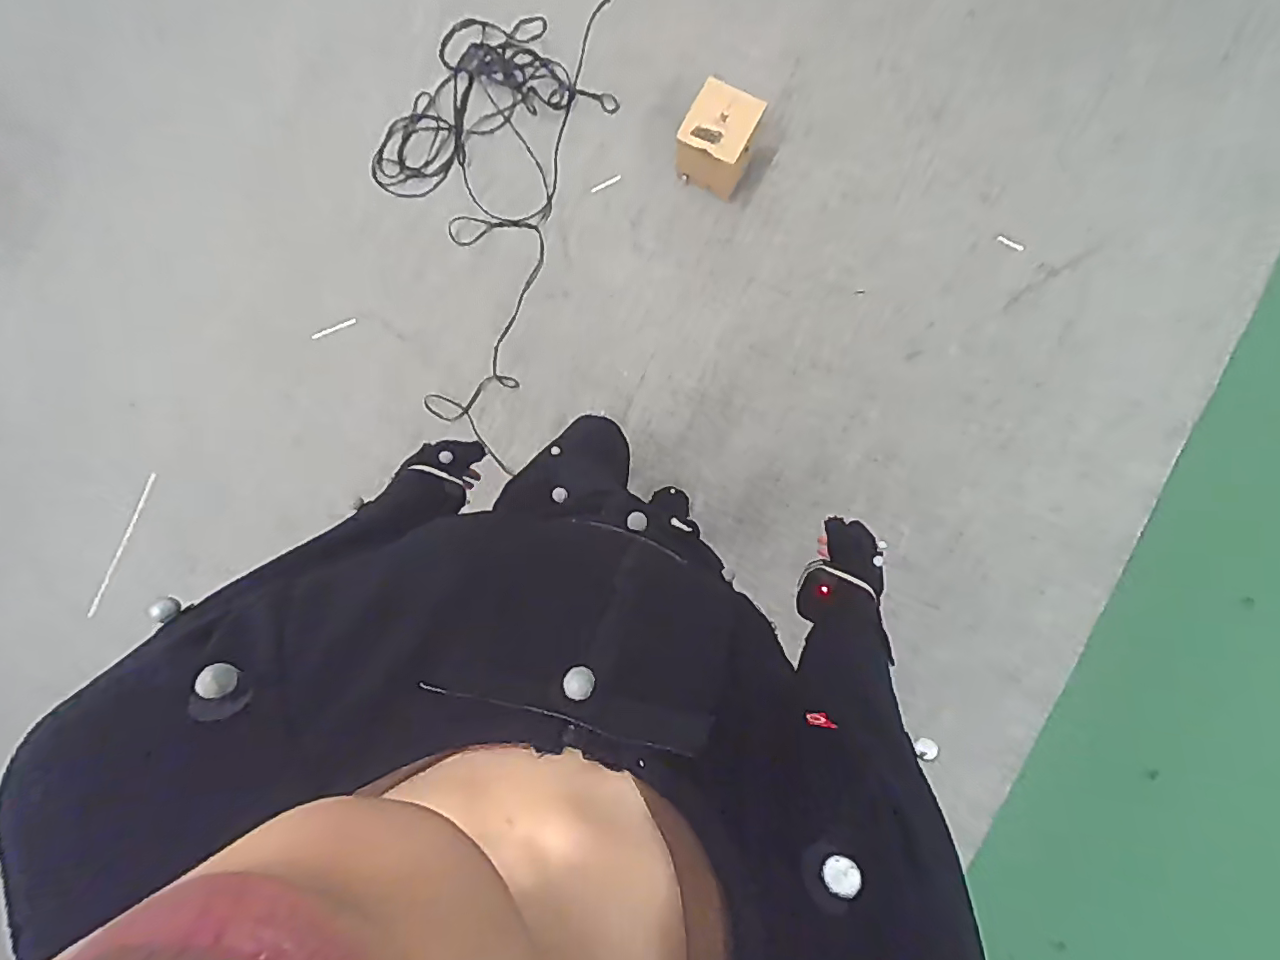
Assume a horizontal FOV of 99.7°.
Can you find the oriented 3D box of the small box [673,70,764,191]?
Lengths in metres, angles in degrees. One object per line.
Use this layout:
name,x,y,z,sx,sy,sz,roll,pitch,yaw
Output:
small box,0.200,-0.895,1.403,0.168,0.176,0.179,29,91,4
